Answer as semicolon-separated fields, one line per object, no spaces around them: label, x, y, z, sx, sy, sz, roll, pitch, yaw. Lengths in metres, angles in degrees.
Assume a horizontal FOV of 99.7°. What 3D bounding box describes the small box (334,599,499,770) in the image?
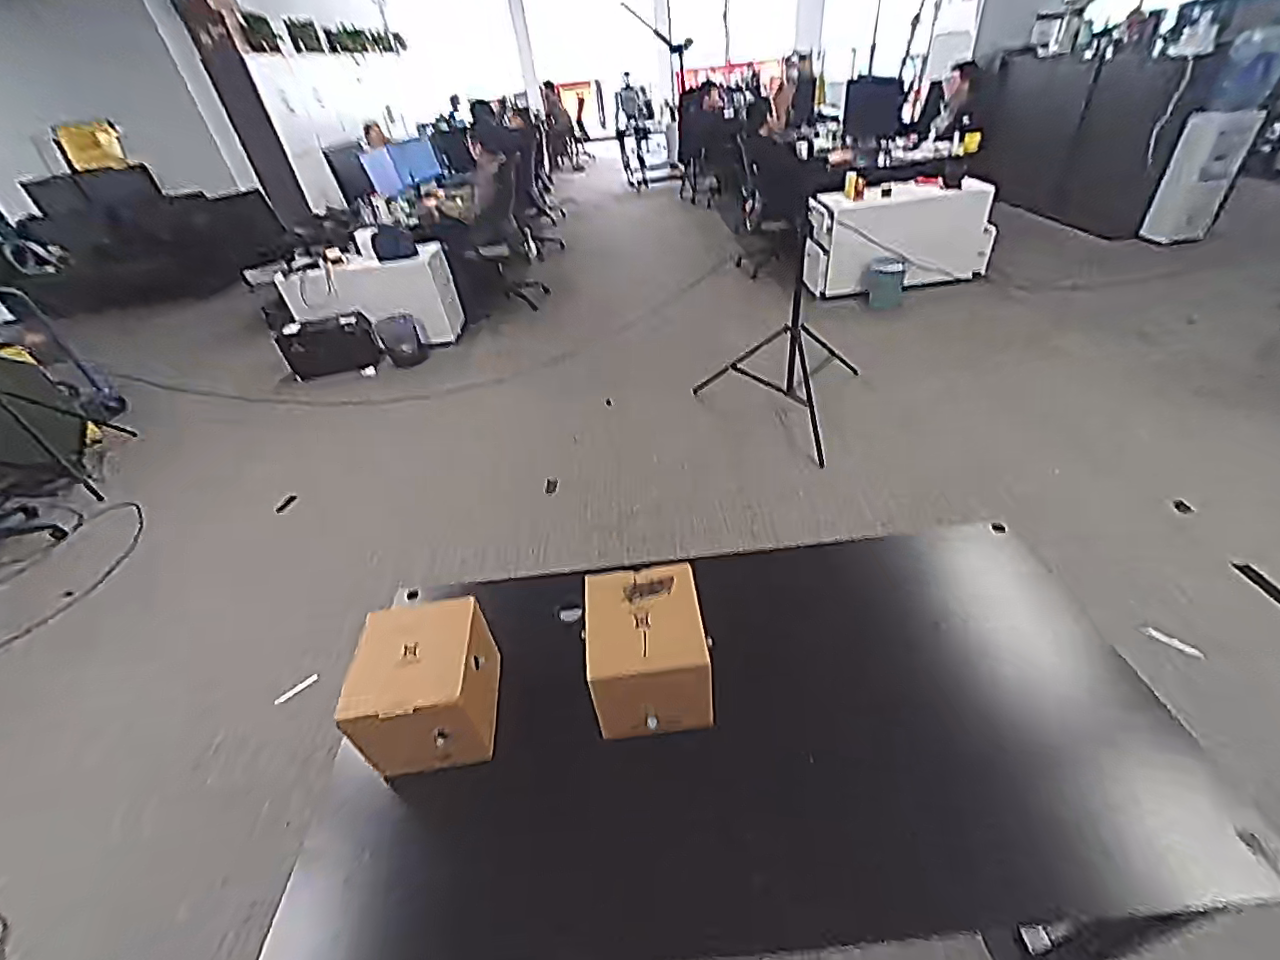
small box;-0.314;0.308;0.805;0.168;0.176;0.179;-8;37;-3

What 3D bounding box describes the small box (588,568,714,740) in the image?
small box;0.015;0.259;0.812;0.168;0.176;0.179;-7;39;0
